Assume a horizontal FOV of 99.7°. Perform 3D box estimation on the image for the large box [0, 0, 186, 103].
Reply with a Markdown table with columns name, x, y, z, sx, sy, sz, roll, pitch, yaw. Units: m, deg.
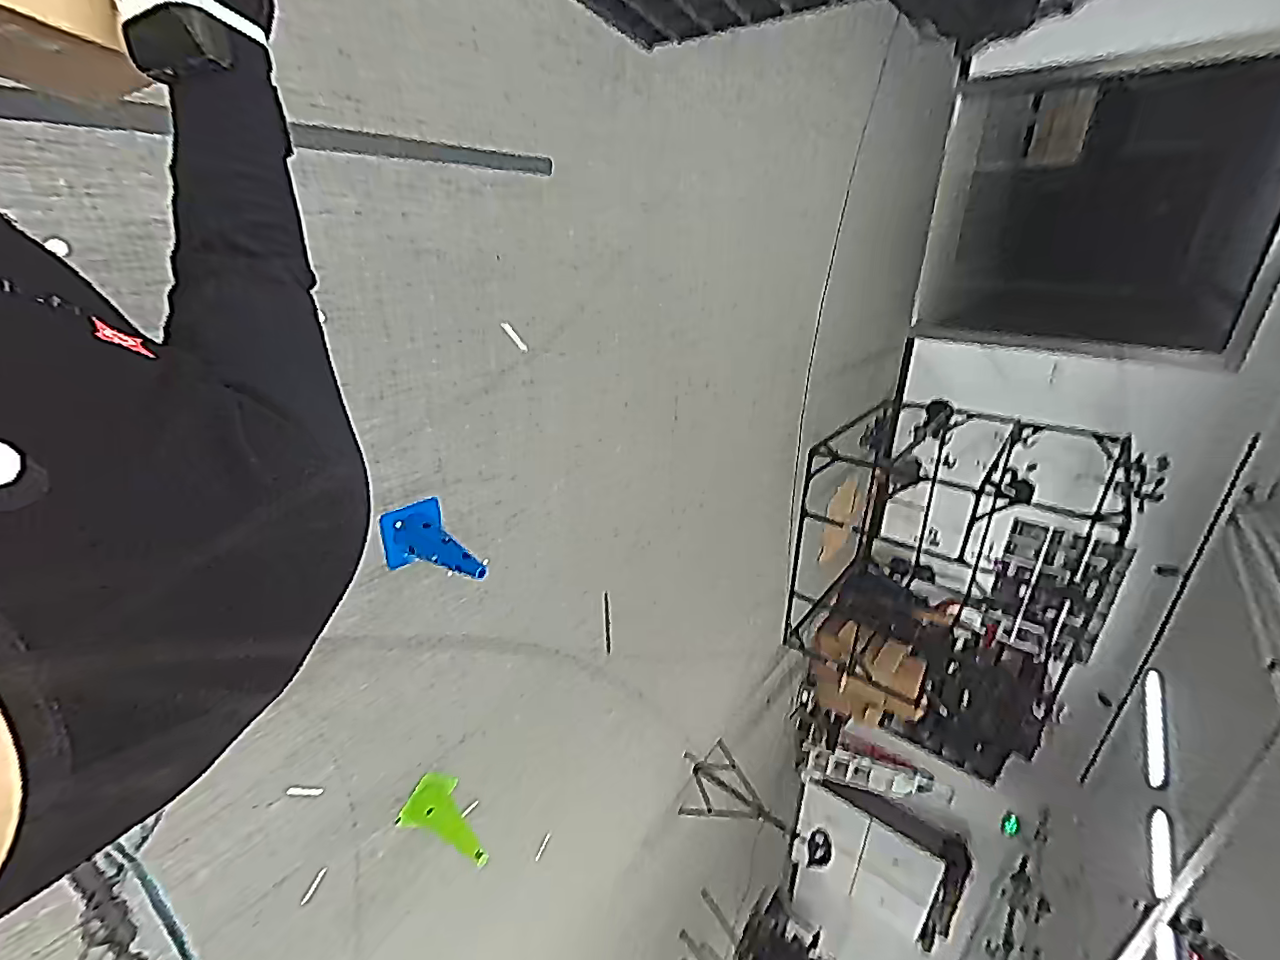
| name | x | y | z | sx | sy | sz | roll | pitch | yaw |
| --- | --- | --- | --- | --- | --- | --- | --- | --- | --- |
| large box | -0.547 | -0.473 | 0.290 | 0.408 | 0.320 | 0.320 | -7 | 114 | -53 |

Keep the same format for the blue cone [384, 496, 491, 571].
| name | x | y | z | sx | sy | sz | roll | pitch | yaw |
| --- | --- | --- | --- | --- | --- | --- | --- | --- | --- |
| blue cone | -0.592 | 0.200 | 1.638 | 0.192 | 0.380 | 0.193 | -24 | 124 | -48 |

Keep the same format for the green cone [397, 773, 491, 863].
| name | x | y | z | sx | sy | sz | roll | pitch | yaw |
| --- | --- | --- | --- | --- | --- | --- | --- | --- | --- |
| green cone | -0.677 | 1.275 | 1.980 | 0.202 | 0.368 | 0.200 | -60 | 144 | -19 |
